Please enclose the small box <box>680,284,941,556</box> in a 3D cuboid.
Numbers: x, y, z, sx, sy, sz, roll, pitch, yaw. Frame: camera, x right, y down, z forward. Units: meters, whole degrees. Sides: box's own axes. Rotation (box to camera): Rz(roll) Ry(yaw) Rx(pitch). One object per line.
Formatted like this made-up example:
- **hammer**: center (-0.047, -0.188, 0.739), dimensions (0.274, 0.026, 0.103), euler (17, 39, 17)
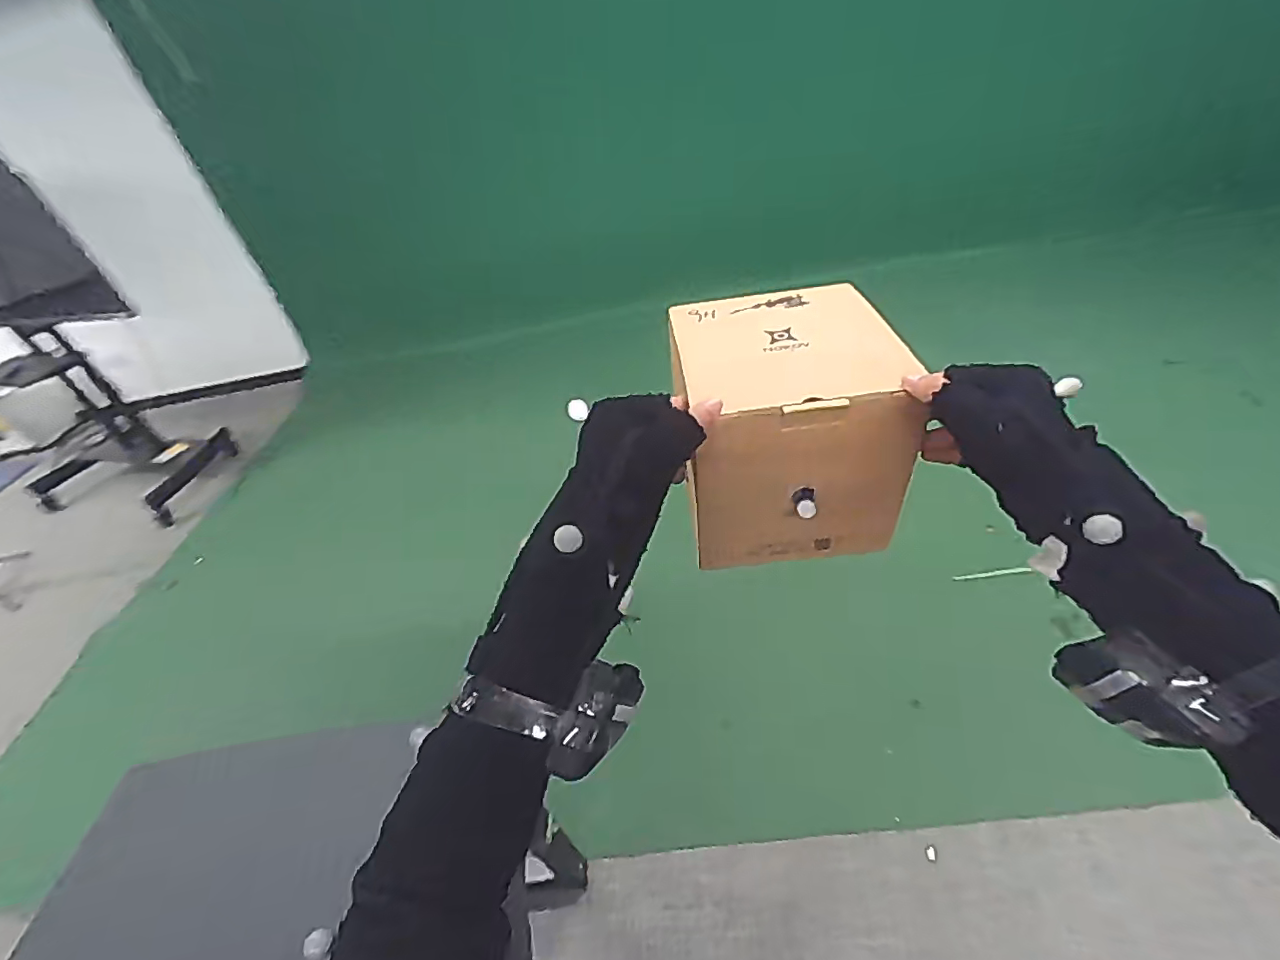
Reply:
- **small box**: center (0.128, -0.047, 0.476), dimensions (0.168, 0.176, 0.179), euler (-6, 42, 3)
